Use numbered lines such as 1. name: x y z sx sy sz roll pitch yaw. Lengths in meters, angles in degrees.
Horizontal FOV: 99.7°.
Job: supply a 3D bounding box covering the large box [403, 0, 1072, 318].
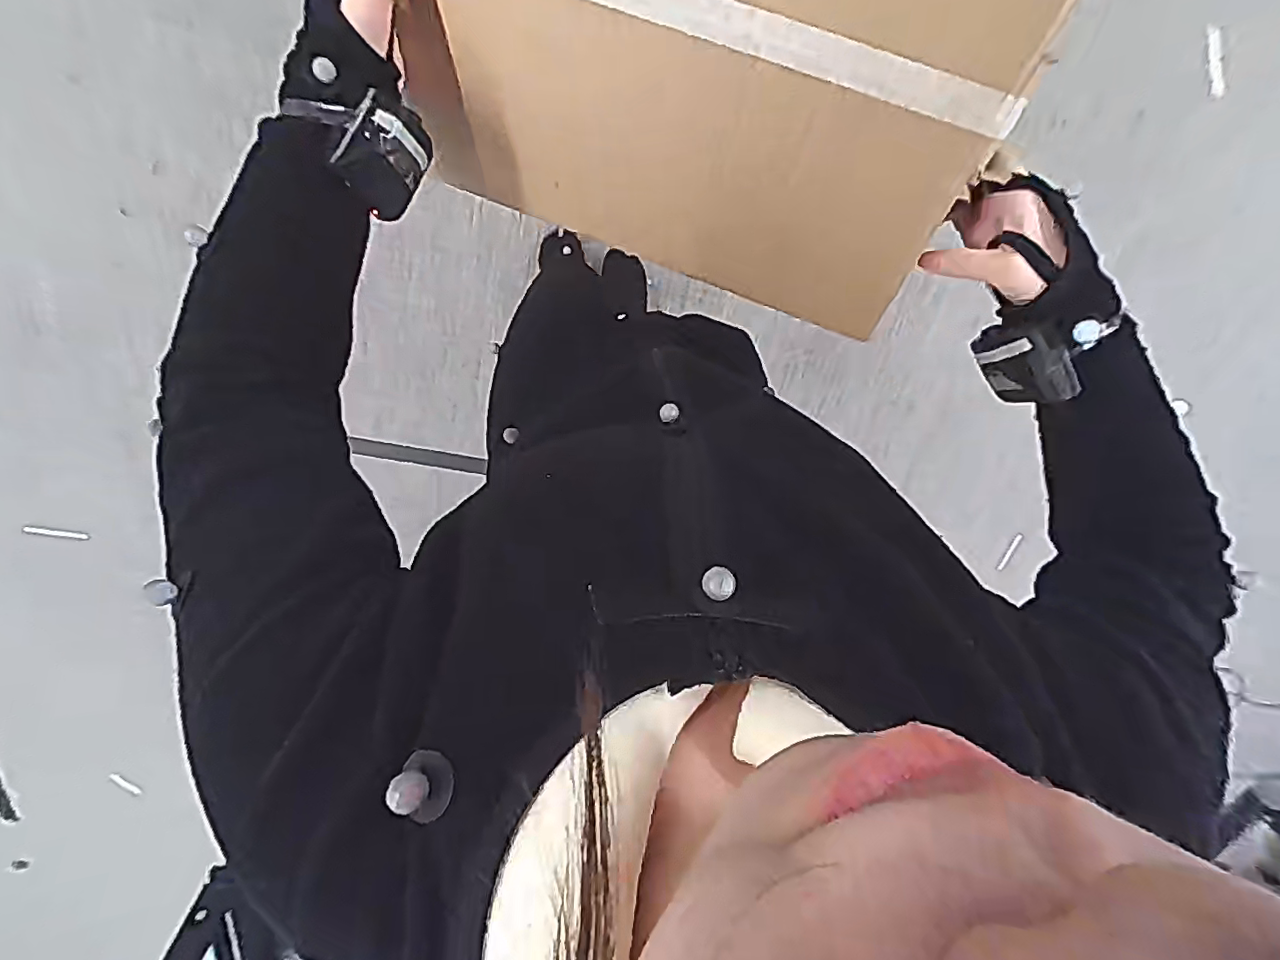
1. large box: 0.082 -0.391 0.421 0.408 0.320 0.320 22 137 4
